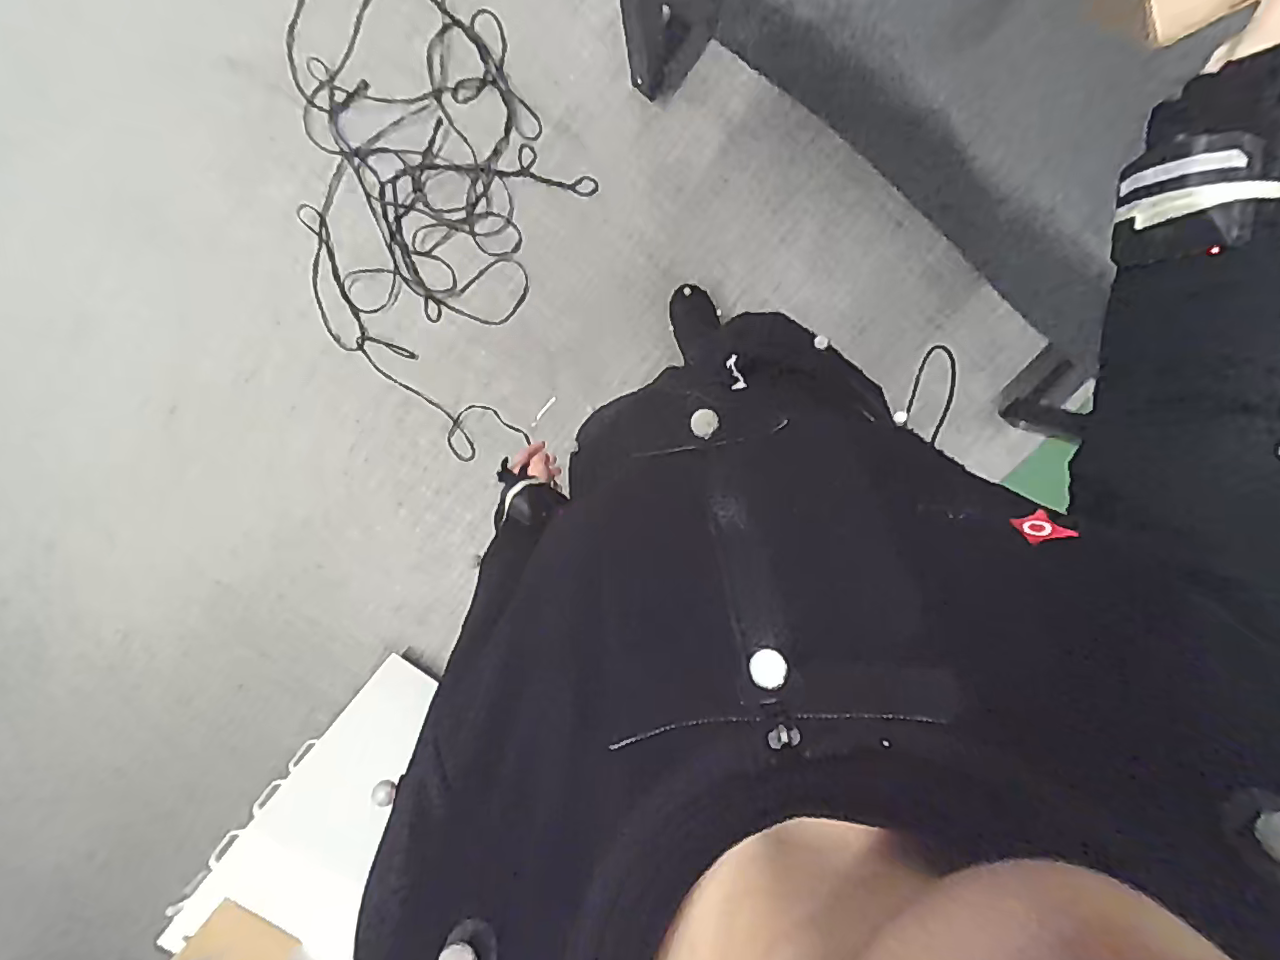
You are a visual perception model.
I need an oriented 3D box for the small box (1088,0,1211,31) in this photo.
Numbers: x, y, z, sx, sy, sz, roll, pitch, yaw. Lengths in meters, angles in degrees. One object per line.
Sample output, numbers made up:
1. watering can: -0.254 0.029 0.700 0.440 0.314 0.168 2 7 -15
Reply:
1. small box: 0.344 -0.407 0.299 0.168 0.176 0.179 -22 121 36
